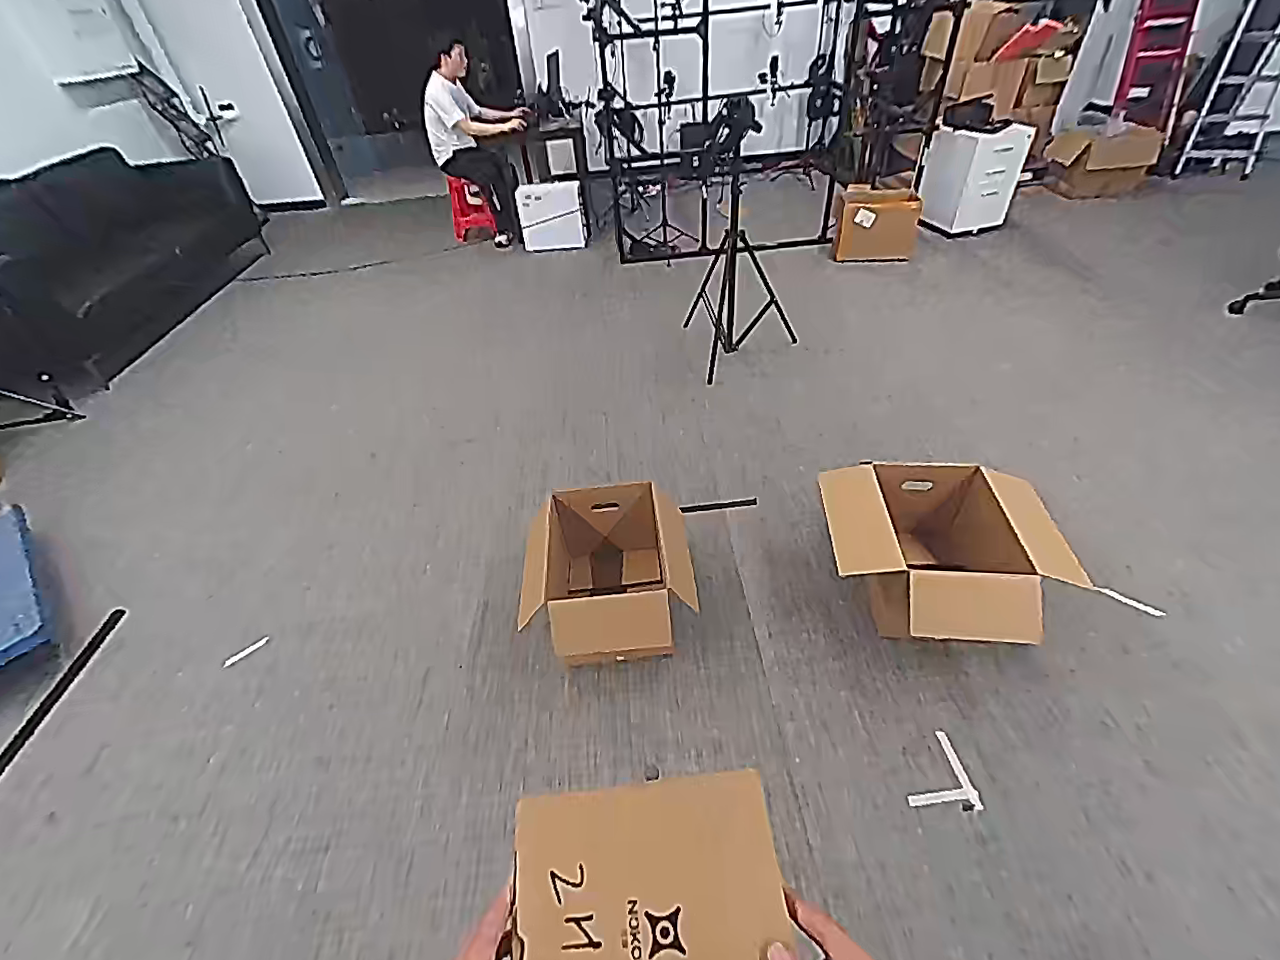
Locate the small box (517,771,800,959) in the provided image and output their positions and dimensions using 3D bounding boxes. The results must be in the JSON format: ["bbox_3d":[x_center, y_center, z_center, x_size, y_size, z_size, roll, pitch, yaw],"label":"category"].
[{"bbox_3d":[0.011,0.327,0.406,0.179,0.176,0.168,-6,55,-2],"label":"small box"}]
